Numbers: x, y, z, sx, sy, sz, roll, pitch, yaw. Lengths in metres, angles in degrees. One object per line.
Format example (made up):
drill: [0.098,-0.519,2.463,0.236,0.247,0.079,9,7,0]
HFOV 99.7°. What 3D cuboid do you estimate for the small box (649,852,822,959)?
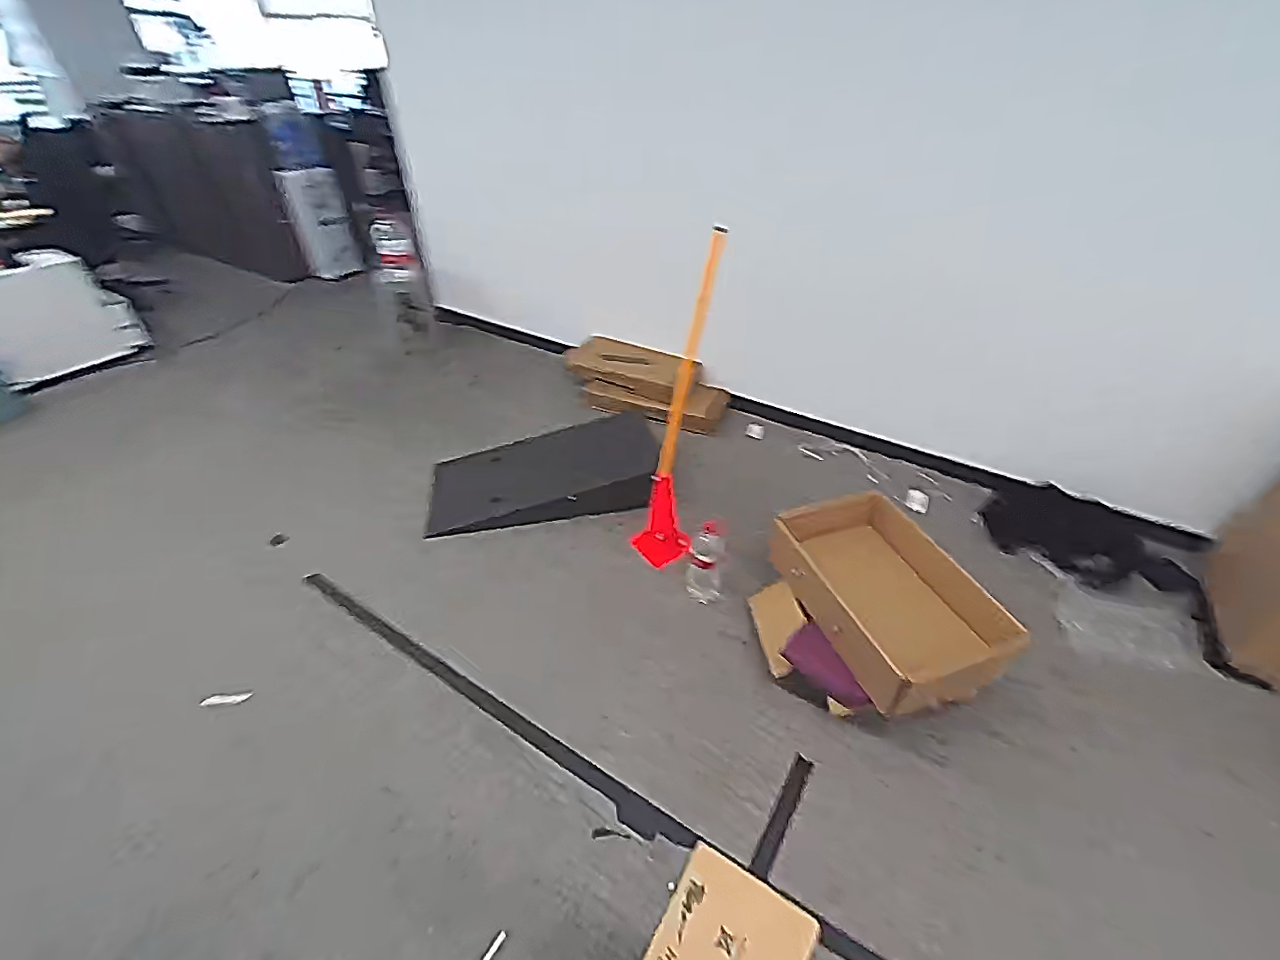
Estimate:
small box: [0.114,0.648,0.716,0.179,0.176,0.168,23,44,24]
